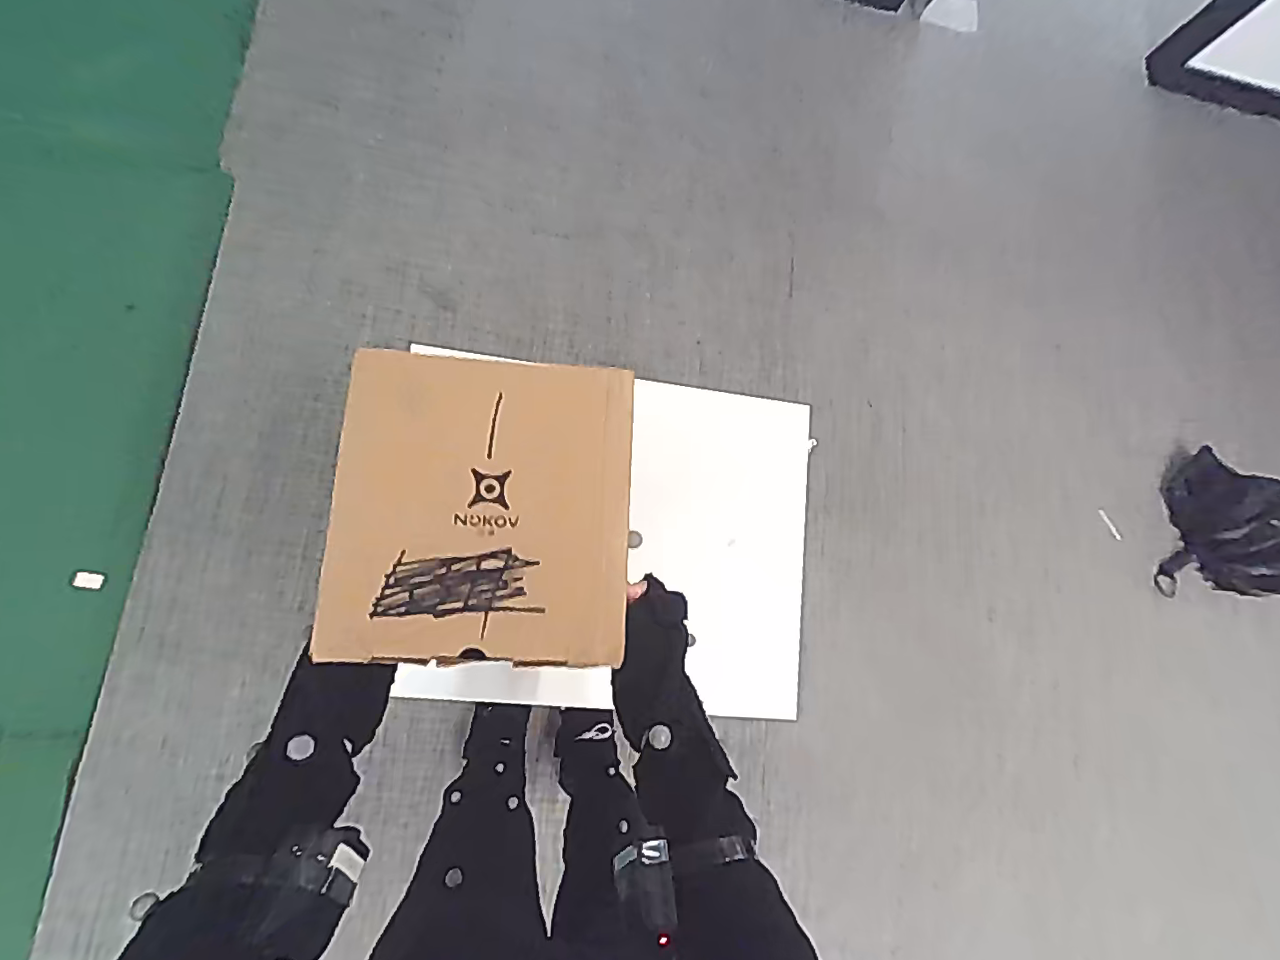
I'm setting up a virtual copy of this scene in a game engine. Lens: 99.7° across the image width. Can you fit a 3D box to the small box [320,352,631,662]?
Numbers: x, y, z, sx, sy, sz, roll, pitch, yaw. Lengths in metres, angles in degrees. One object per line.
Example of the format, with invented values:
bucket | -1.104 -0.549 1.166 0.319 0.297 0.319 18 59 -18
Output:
small box | -0.100 0.028 0.396 0.168 0.176 0.179 4 79 -7
